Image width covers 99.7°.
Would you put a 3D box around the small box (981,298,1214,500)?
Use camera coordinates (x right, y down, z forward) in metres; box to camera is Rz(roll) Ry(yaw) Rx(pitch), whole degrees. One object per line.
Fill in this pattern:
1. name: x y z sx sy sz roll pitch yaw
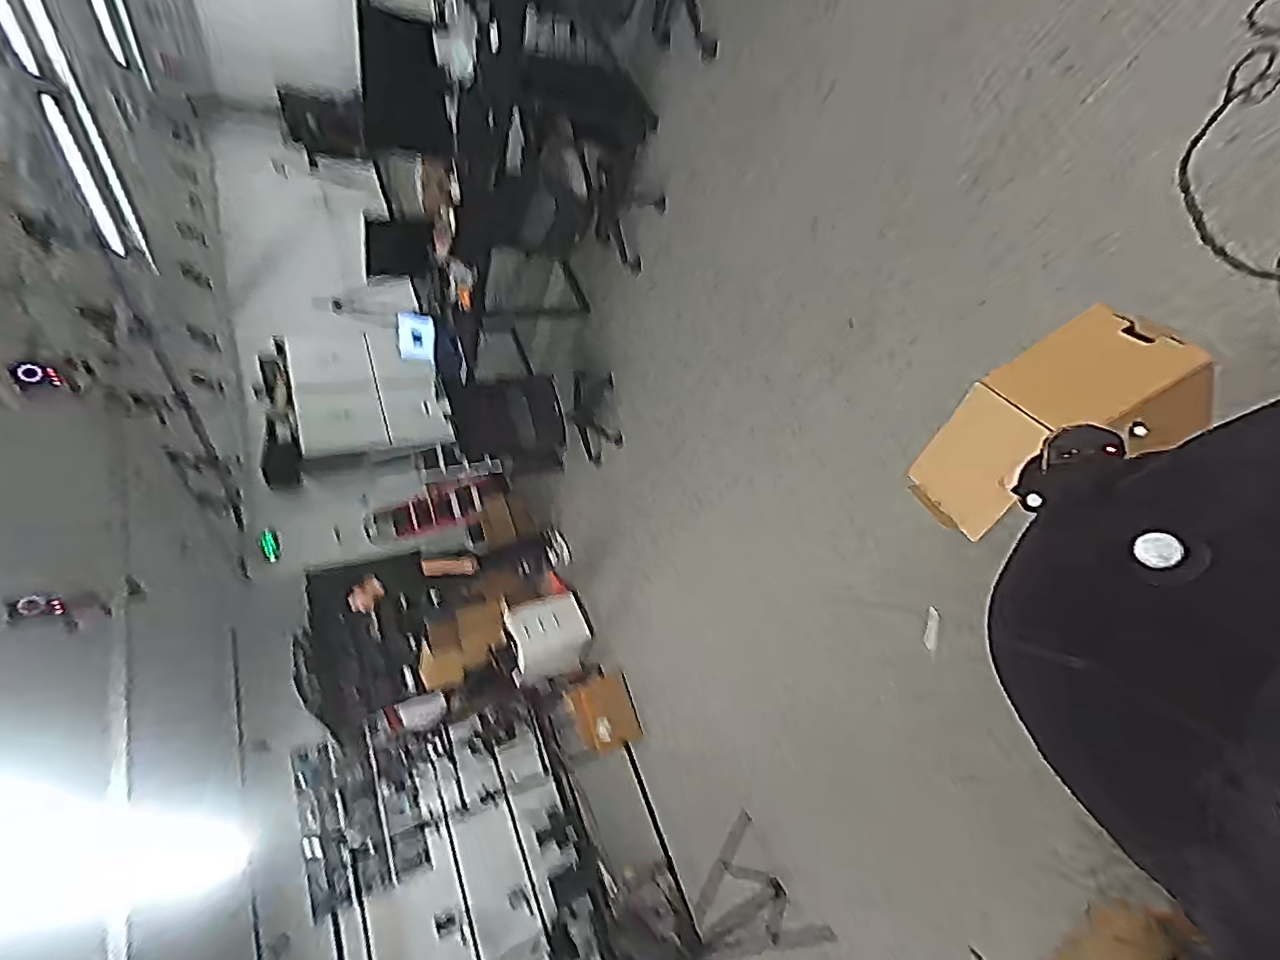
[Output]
1. small box: 0.617 -0.104 0.741 0.179 0.176 0.168 -34 40 15
